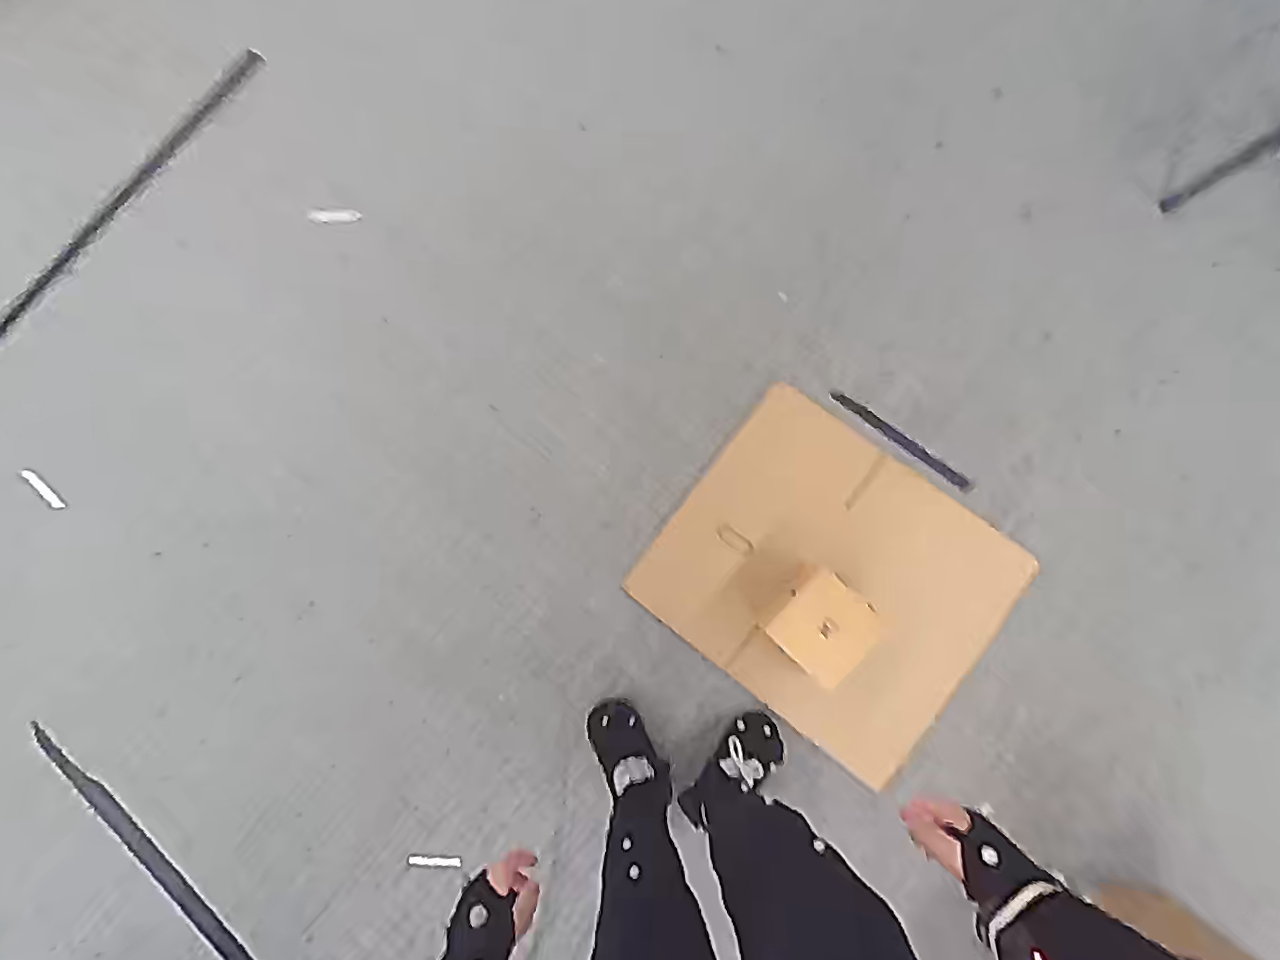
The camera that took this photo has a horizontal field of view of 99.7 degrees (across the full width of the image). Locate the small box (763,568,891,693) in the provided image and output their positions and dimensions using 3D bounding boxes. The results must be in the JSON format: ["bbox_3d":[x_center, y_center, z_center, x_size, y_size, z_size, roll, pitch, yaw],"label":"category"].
[{"bbox_3d":[0.368,0.298,1.105,0.168,0.176,0.179,43,88,11],"label":"small box"}]
